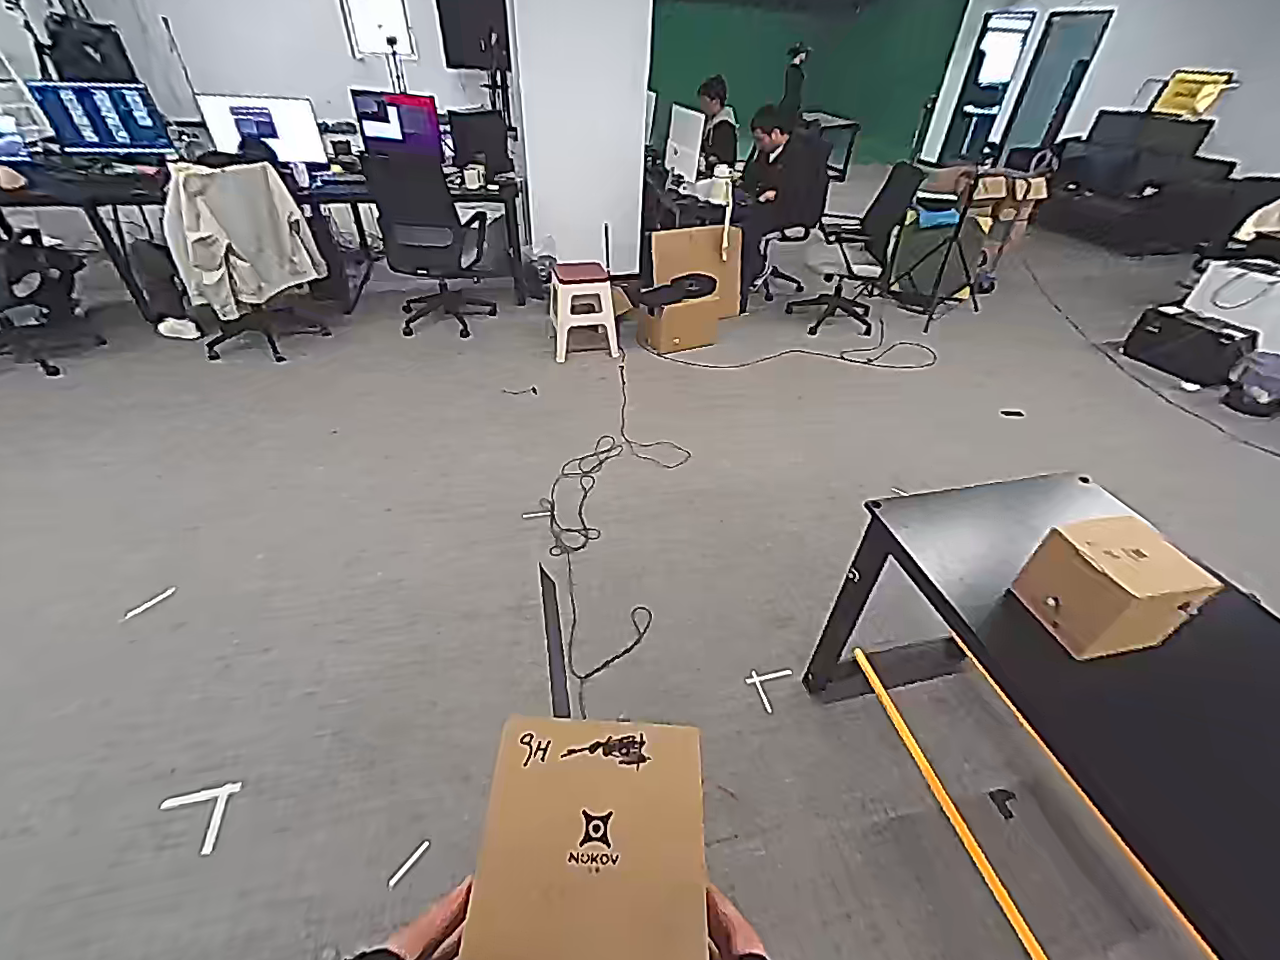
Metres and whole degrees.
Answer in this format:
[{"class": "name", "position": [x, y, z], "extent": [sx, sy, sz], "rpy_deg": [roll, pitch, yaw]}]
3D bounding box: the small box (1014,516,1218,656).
[{"class": "small box", "position": [0.819, 0.187, 0.955], "extent": [0.179, 0.176, 0.168], "rpy_deg": [-6, 40, -11]}]

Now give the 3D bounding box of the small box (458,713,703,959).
[{"class": "small box", "position": [-0.041, 0.320, 0.460], "extent": [0.168, 0.176, 0.179], "rpy_deg": [5, 48, -3]}]
